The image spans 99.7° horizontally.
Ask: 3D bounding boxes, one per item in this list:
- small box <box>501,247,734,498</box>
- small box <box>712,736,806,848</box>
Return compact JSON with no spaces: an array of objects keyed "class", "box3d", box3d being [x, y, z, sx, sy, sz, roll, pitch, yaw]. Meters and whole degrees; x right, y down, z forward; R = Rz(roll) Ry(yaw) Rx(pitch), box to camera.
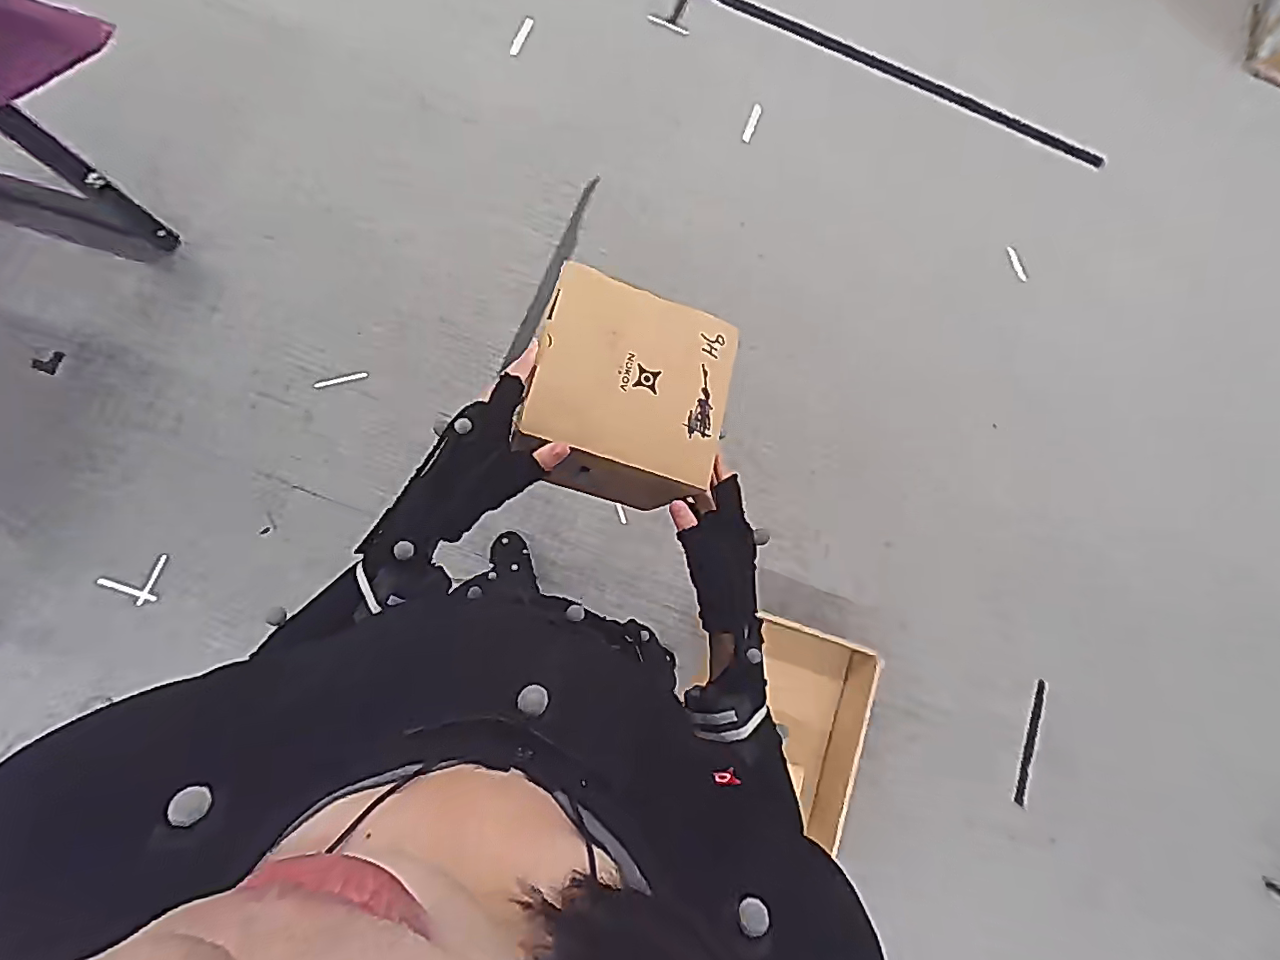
[{"class":"small box","box3d":[-0.033,-0.088,0.540,0.179,0.176,0.168,16,75,-14]},{"class":"small box","box3d":[0.291,0.775,1.360,0.168,0.176,0.179,18,78,-4]}]
